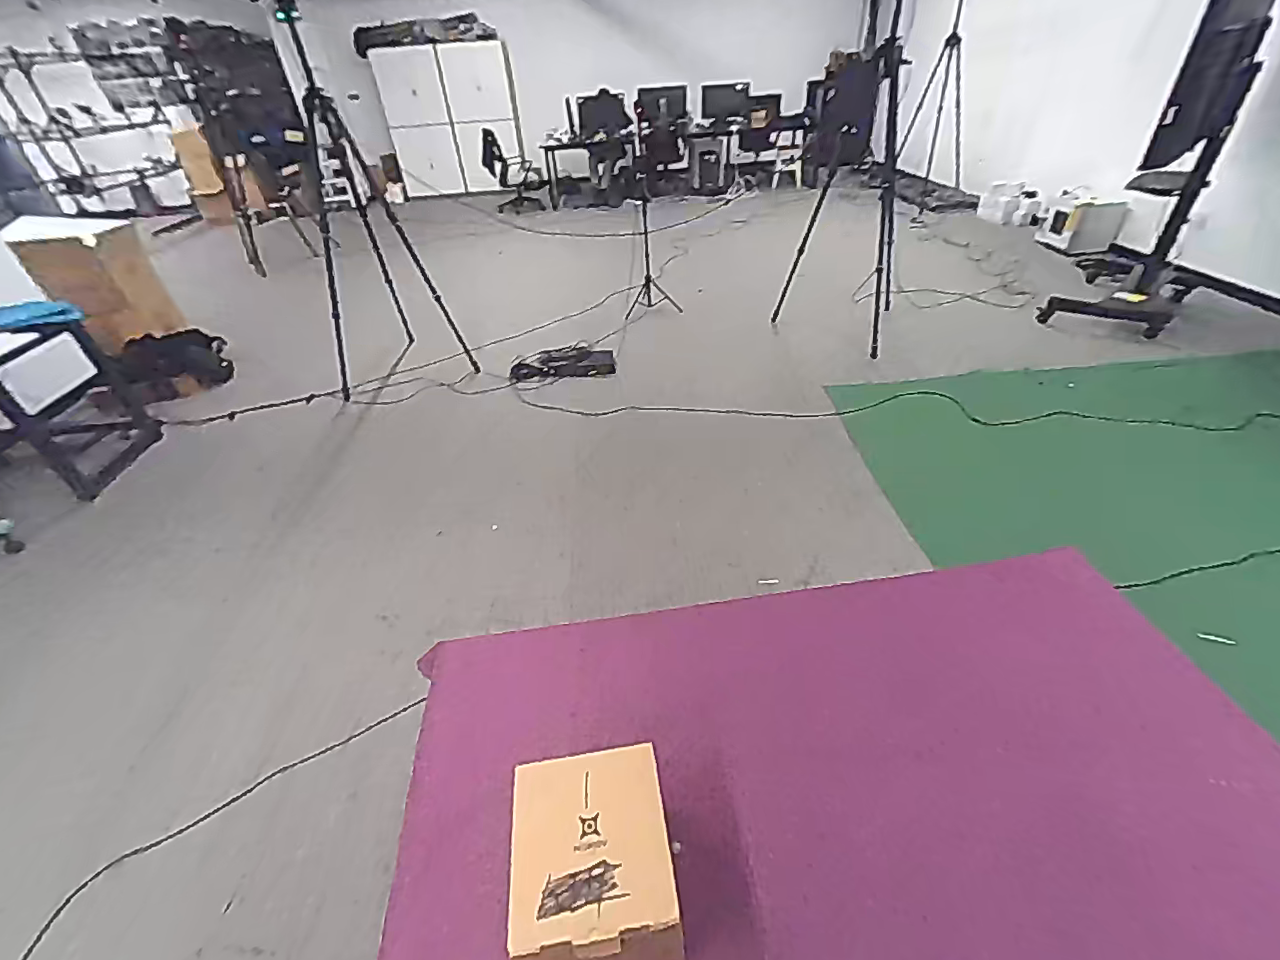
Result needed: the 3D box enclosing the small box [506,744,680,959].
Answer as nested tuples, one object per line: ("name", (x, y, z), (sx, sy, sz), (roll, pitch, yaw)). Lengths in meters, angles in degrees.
("small box", (-0.049, 0.440, 0.620), (0.168, 0.176, 0.179), (-8, 37, -4))
